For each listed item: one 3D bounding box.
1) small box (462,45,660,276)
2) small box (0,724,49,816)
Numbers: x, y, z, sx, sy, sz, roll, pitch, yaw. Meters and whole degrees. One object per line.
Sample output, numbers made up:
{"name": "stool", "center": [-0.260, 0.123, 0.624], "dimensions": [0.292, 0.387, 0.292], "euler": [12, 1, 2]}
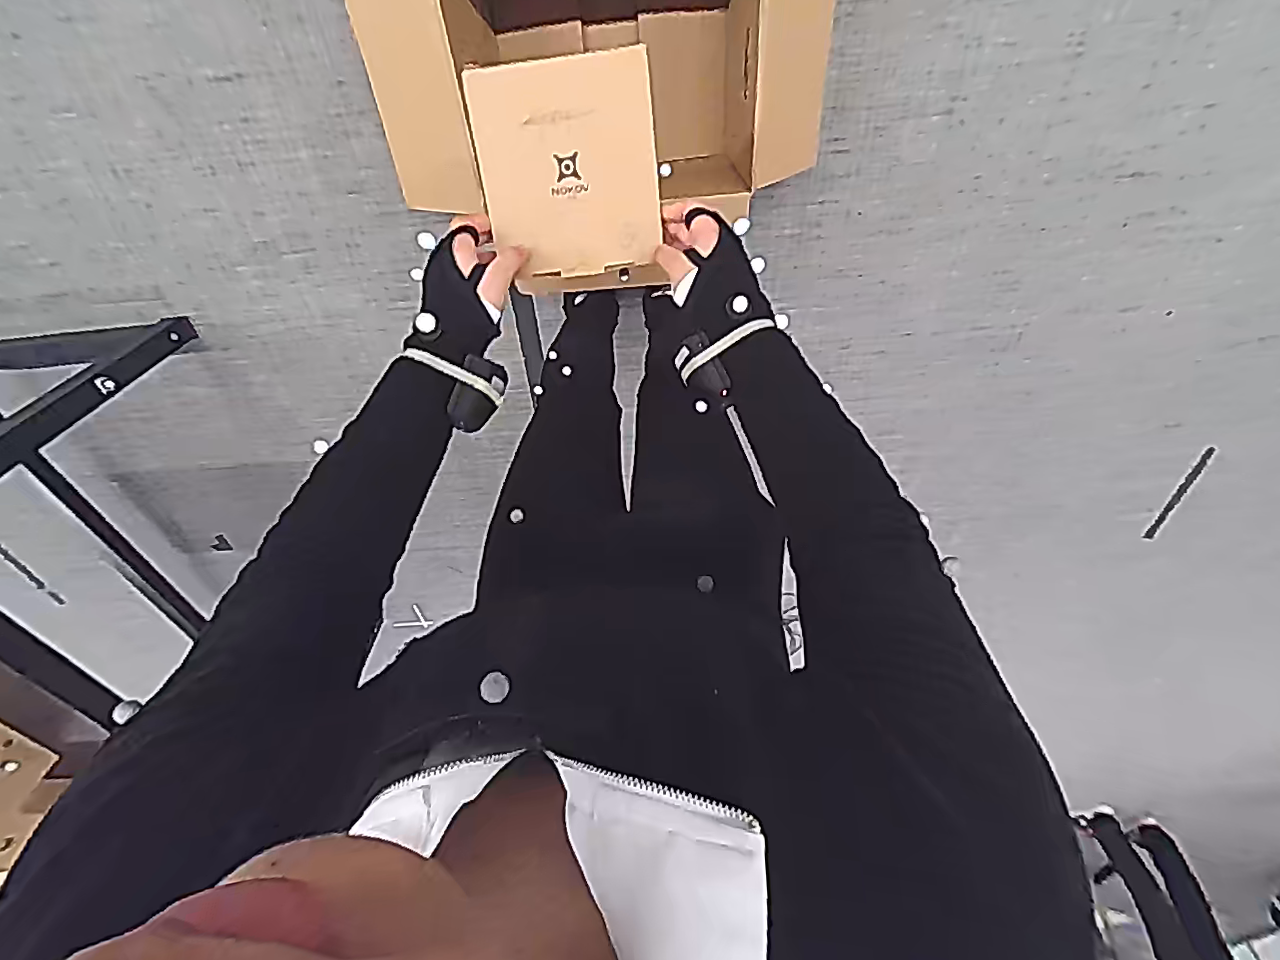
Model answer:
{"name": "small box", "center": [-0.066, -0.324, 0.576], "dimensions": [0.168, 0.176, 0.179], "euler": [-5, 114, 3]}
{"name": "small box", "center": [-1.241, 0.540, 0.954], "dimensions": [0.179, 0.176, 0.168], "euler": [-3, 130, 2]}
